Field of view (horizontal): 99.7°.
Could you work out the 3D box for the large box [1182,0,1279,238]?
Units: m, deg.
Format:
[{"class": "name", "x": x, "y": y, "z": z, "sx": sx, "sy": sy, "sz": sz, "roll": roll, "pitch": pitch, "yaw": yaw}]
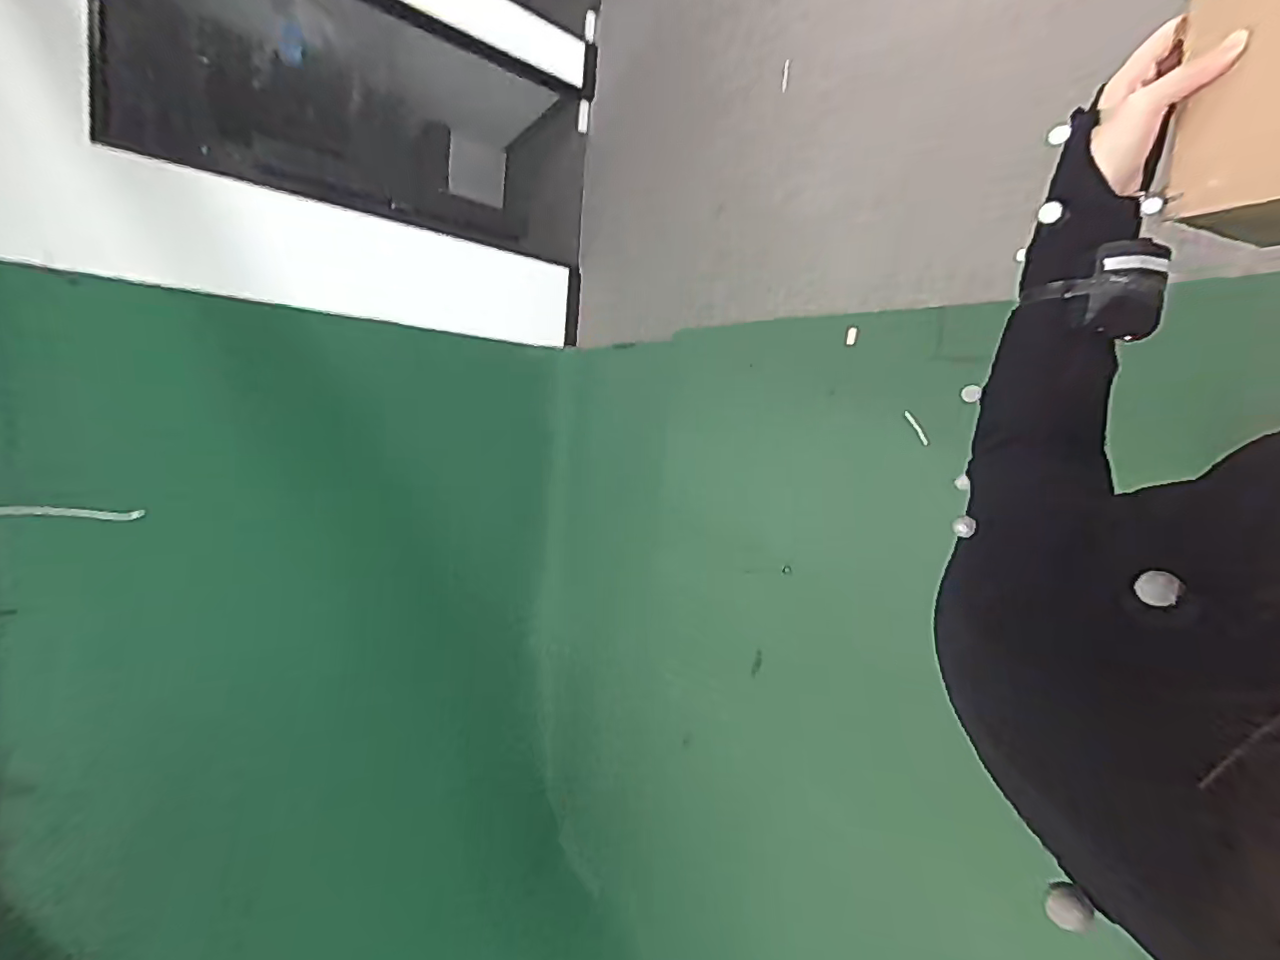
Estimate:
[{"class": "large box", "x": 0.635, "y": -0.344, "z": 0.292, "sx": 0.408, "sy": 0.320, "sz": 0.320, "roll": 15, "pitch": 111, "yaw": 57}]
